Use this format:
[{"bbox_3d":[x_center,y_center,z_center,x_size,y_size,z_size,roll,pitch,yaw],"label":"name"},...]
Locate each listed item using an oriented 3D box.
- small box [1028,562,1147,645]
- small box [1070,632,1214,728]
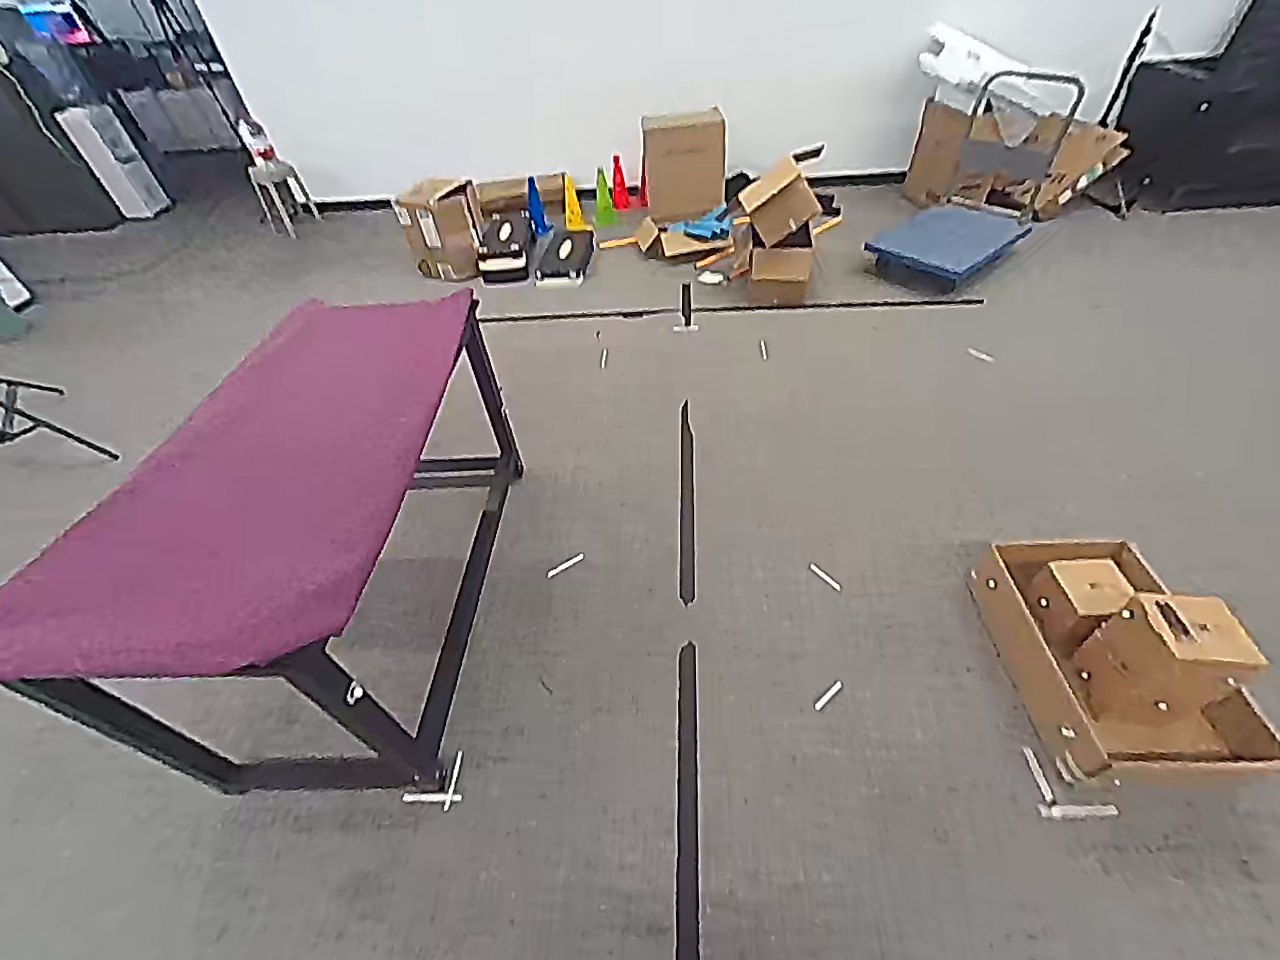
[{"bbox_3d":[1.221,0.346,1.499,0.179,0.176,0.168,-3,47,2],"label":"small box"},{"bbox_3d":[1.235,0.501,1.349,0.179,0.176,0.168,1,43,7],"label":"small box"}]
